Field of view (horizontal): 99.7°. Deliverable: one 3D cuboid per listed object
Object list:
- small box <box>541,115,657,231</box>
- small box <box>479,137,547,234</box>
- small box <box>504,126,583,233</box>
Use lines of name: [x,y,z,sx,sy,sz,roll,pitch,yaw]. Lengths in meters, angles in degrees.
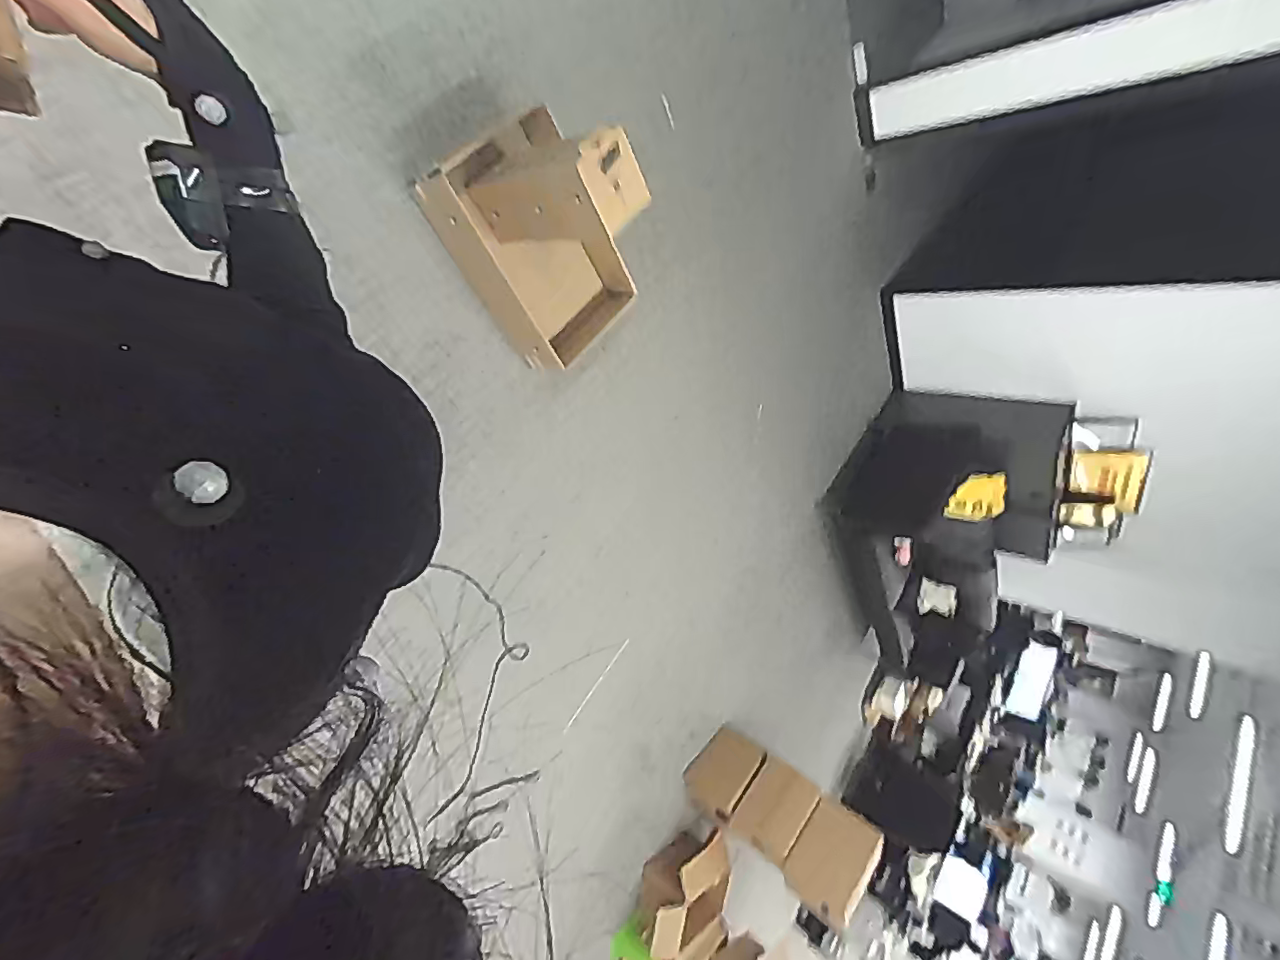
small box: [-0.097,-0.704,1.259,0.168,0.176,0.179,-51,134,-18]
small box: [-0.315,-0.798,1.483,0.179,0.176,0.168,-53,135,-19]
small box: [-0.209,-0.750,1.369,0.168,0.176,0.179,-51,134,-19]
